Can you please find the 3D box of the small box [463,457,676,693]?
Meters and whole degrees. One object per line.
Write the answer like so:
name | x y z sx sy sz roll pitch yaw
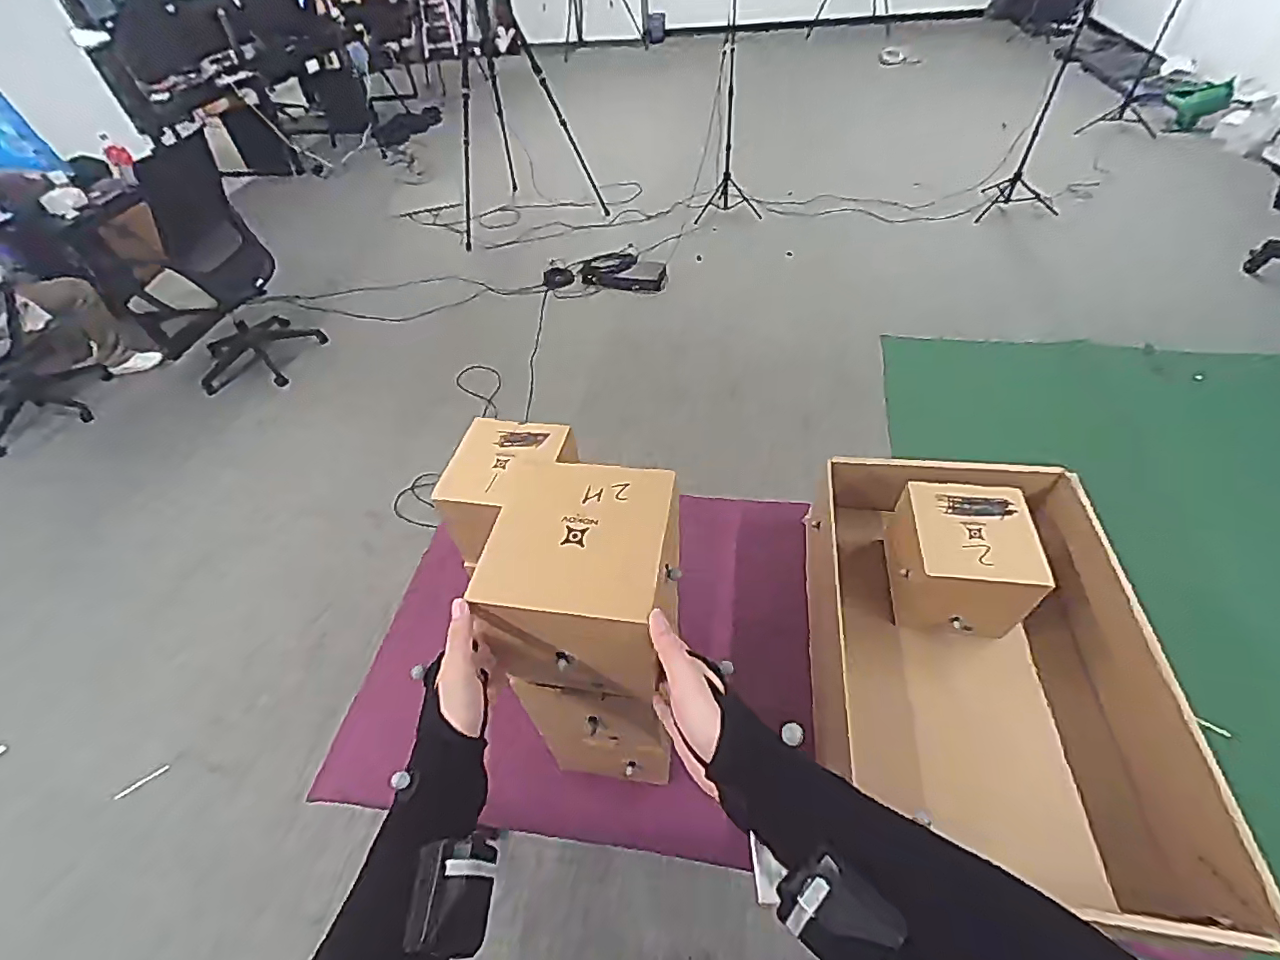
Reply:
small box | -0.054 0.100 0.564 0.168 0.176 0.179 5 47 9

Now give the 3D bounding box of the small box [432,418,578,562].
small box | -0.198 0.024 0.870 0.168 0.176 0.179 6 50 11

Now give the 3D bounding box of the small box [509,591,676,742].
small box | -0.045 0.213 0.686 0.168 0.176 0.179 4 49 9

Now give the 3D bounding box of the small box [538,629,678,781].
small box | -0.034 0.326 0.804 0.168 0.176 0.179 5 47 9
